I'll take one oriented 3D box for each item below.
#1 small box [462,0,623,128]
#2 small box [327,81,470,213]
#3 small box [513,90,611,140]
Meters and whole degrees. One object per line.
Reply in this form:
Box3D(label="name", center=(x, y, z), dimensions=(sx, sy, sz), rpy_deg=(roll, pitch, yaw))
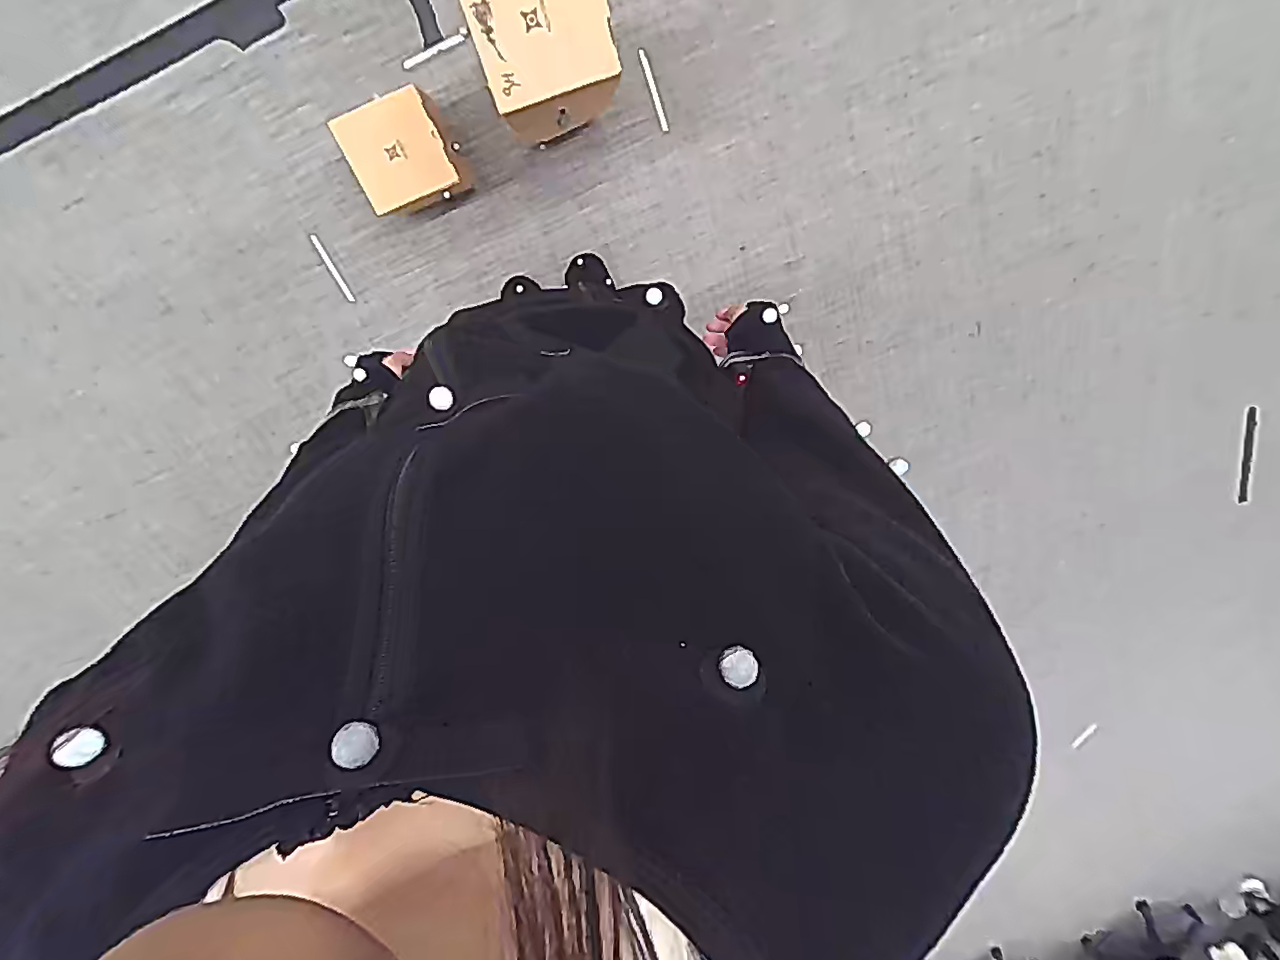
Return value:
Box3D(label="small box", center=(-0.137, -0.615, 0.750), dimensions=(0.179, 0.176, 0.168), rpy_deg=(-18, 117, 0))
Box3D(label="small box", center=(-0.461, -0.640, 1.064), dimensions=(0.179, 0.176, 0.168), rpy_deg=(-22, 116, 3))
Box3D(label="small box", center=(-0.158, -0.689, 0.895), dimensions=(0.179, 0.176, 0.168), rpy_deg=(-21, 117, 2))
